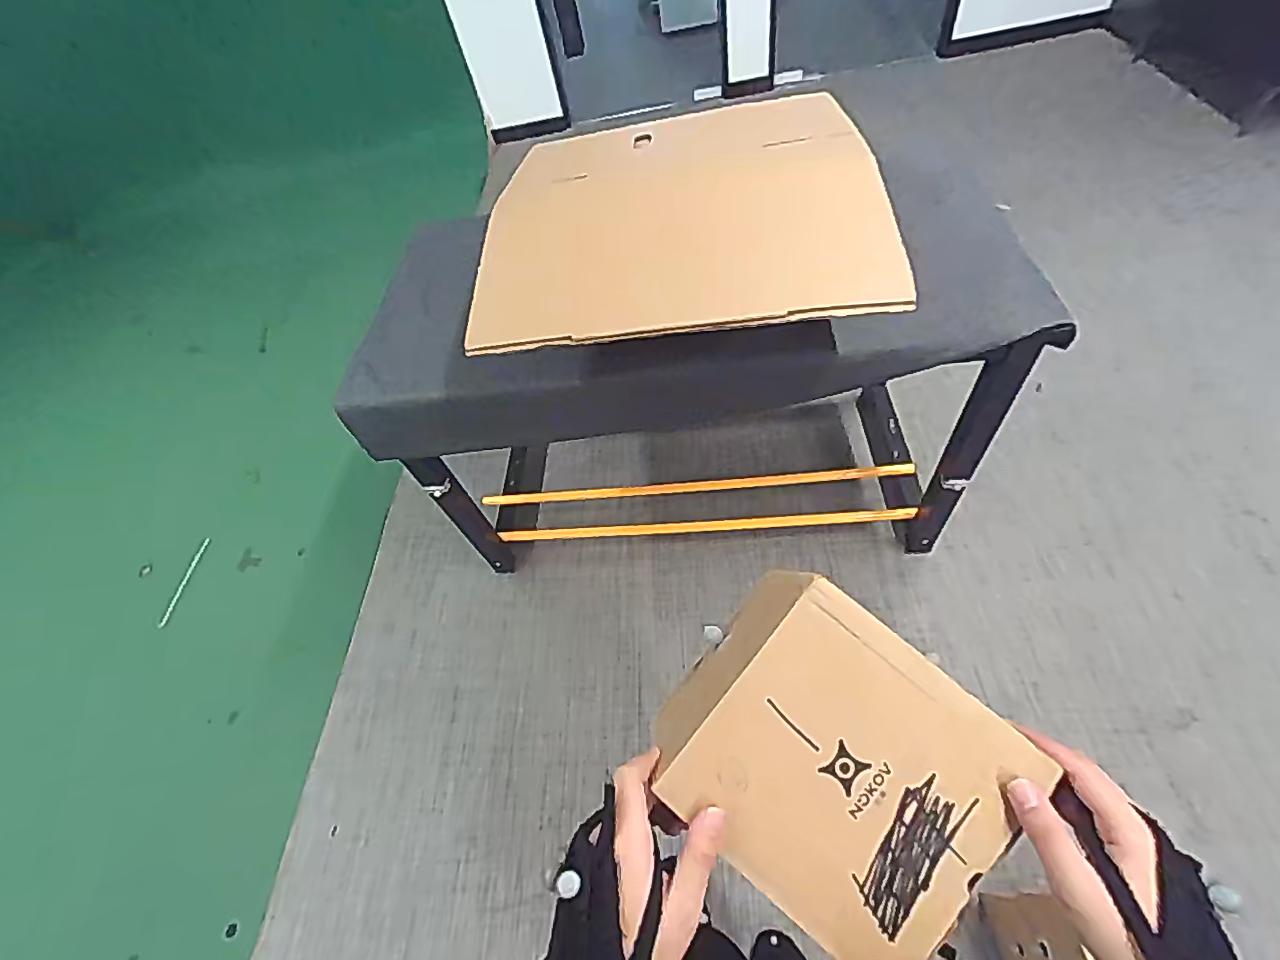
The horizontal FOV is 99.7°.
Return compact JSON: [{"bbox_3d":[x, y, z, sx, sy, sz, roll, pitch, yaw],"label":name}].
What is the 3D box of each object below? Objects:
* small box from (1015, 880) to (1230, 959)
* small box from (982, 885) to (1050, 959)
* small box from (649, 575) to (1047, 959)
[{"bbox_3d":[0.679,0.670,0.758,0.179,0.176,0.168,-10,52,5],"label":"small box"},{"bbox_3d":[0.700,0.773,0.883,0.168,0.176,0.179,-9,53,5],"label":"small box"},{"bbox_3d":[0.126,0.182,0.398,0.179,0.176,0.168,40,85,8],"label":"small box"}]
